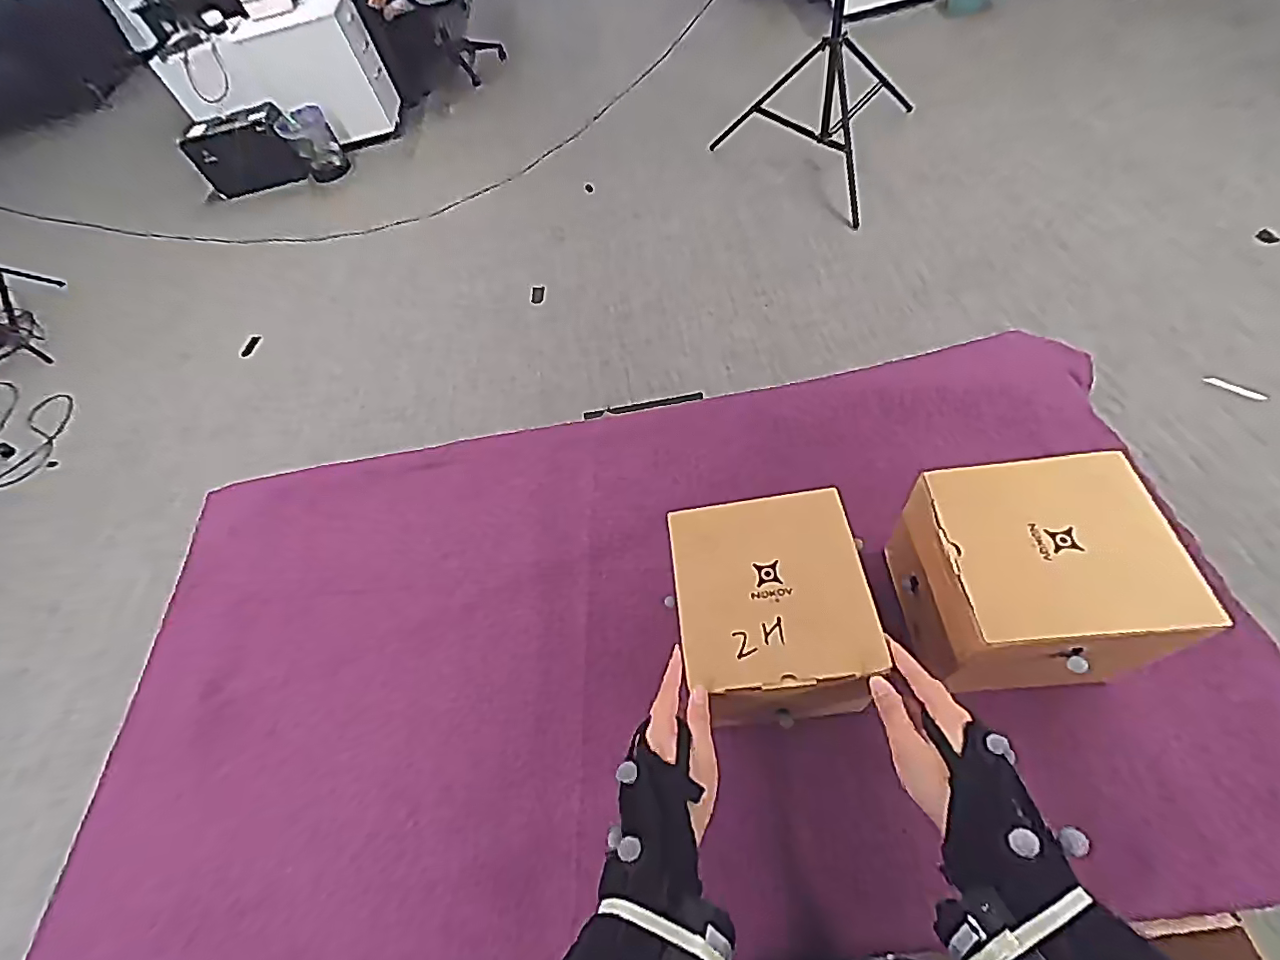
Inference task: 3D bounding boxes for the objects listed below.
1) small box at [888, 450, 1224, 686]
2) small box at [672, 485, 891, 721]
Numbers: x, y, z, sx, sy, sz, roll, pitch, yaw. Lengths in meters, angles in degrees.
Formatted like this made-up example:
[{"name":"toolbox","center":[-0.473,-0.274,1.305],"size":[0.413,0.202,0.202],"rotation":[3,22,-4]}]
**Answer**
[{"name":"small box","center":[0.366,0.093,0.524],"size":[0.179,0.176,0.168],"rotation":[-7,56,8]},{"name":"small box","center":[0.129,0.130,0.547],"size":[0.168,0.176,0.179],"rotation":[-9,57,7]}]
